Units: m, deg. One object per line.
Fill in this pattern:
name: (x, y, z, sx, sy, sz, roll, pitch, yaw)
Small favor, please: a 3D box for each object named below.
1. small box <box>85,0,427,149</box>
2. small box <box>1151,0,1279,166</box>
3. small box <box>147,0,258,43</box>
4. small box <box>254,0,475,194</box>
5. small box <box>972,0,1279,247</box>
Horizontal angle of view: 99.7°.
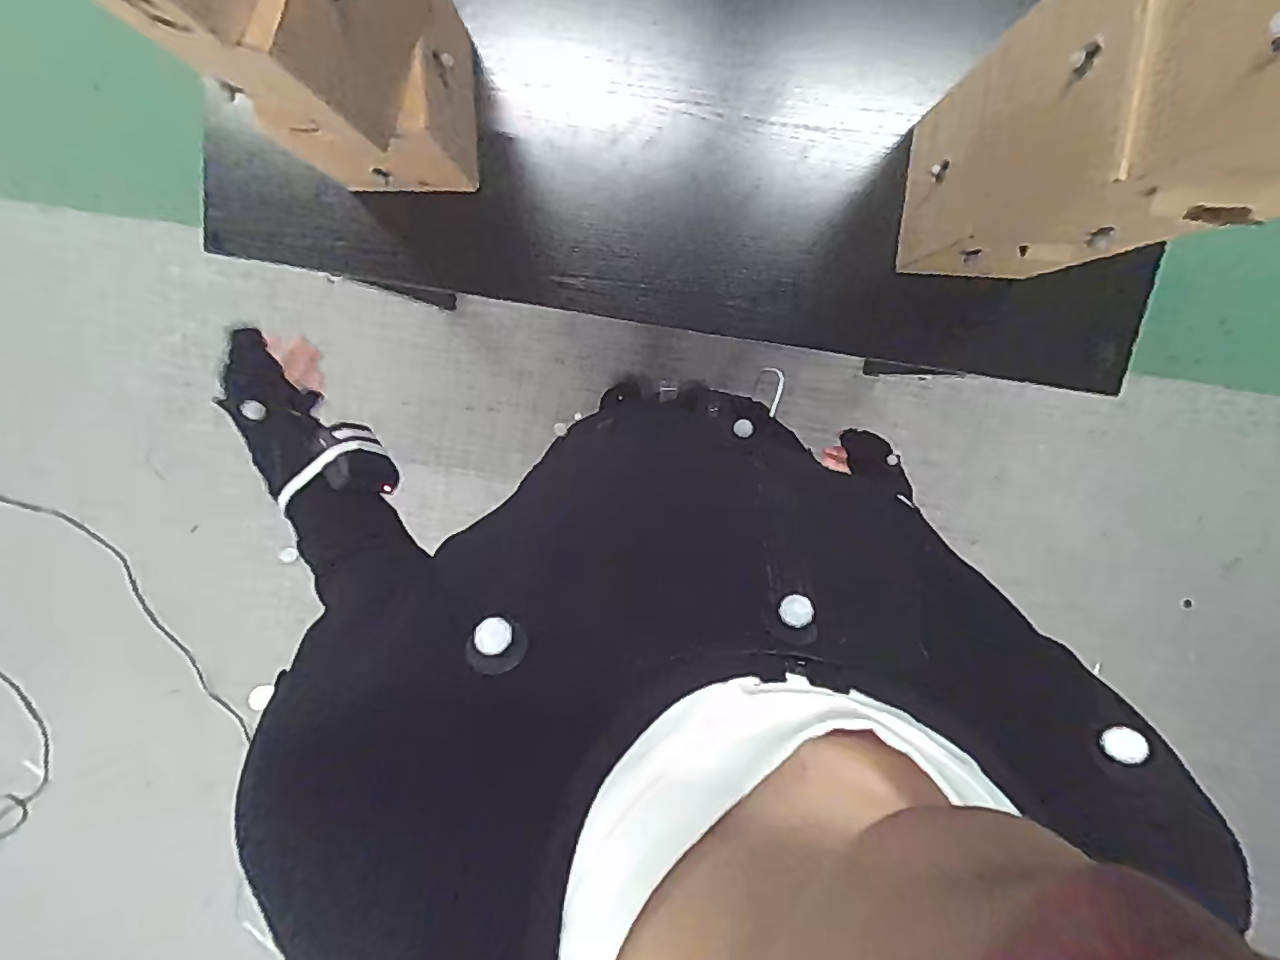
small box: (-0.289, -0.399, 0.420, 0.168, 0.176, 0.179, 21, 100, -5)
small box: (0.405, -0.266, 0.257, 0.168, 0.176, 0.179, 1, 100, 0)
small box: (-0.290, -0.374, 0.257, 0.168, 0.176, 0.179, 31, 101, -7)
small box: (-0.285, -0.430, 0.581, 0.168, 0.176, 0.179, 0, 102, 0)
small box: (0.400, -0.301, 0.433, 0.168, 0.176, 0.179, 1, 101, 1)
